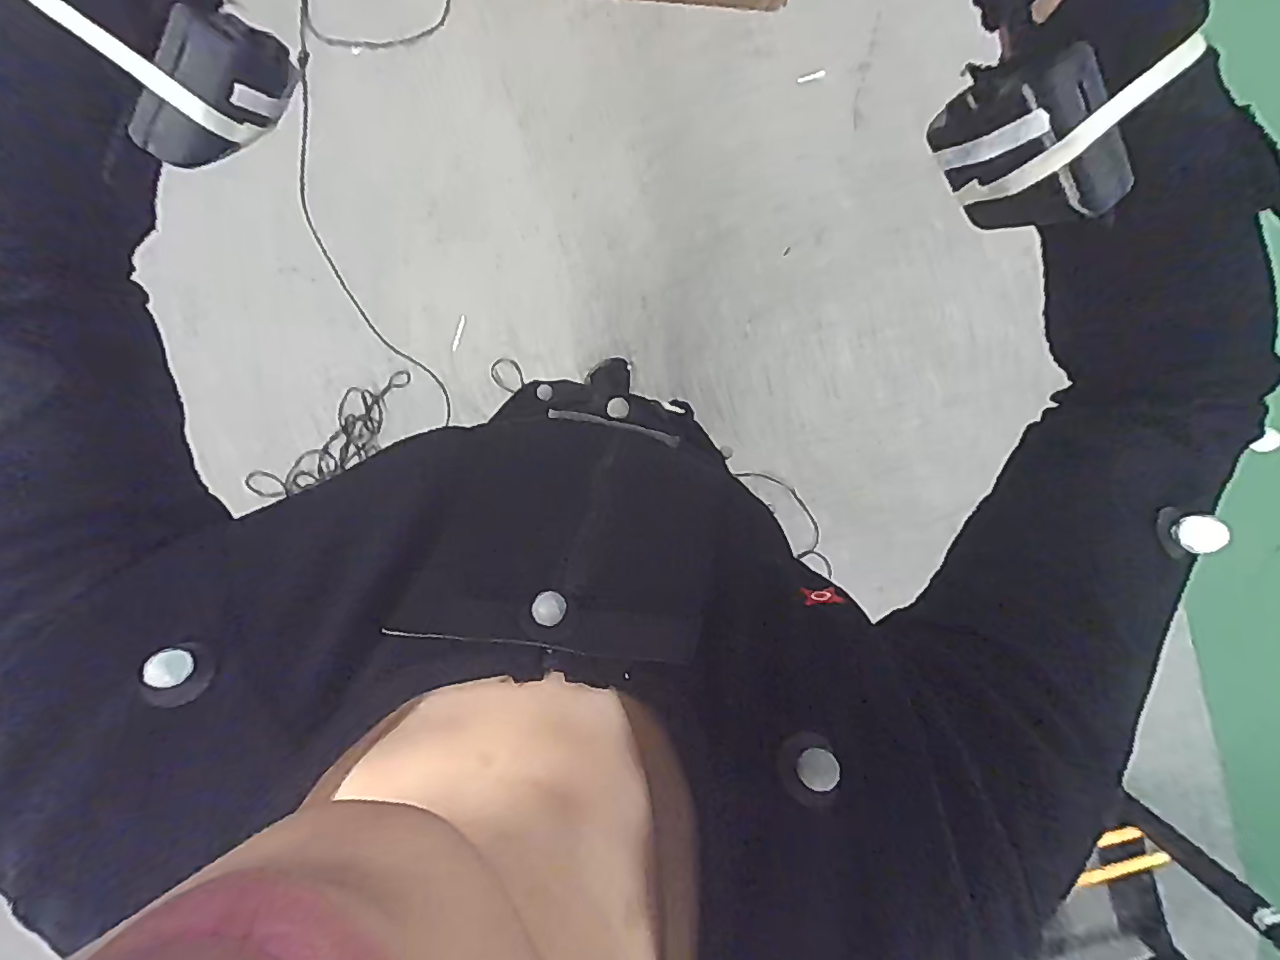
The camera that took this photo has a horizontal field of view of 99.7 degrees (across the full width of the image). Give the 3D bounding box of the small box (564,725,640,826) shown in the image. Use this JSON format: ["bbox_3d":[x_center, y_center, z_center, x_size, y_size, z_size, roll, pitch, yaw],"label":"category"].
[{"bbox_3d":[-0.099,0.825,1.522,0.179,0.176,0.168,-14,99,1],"label":"small box"}]
